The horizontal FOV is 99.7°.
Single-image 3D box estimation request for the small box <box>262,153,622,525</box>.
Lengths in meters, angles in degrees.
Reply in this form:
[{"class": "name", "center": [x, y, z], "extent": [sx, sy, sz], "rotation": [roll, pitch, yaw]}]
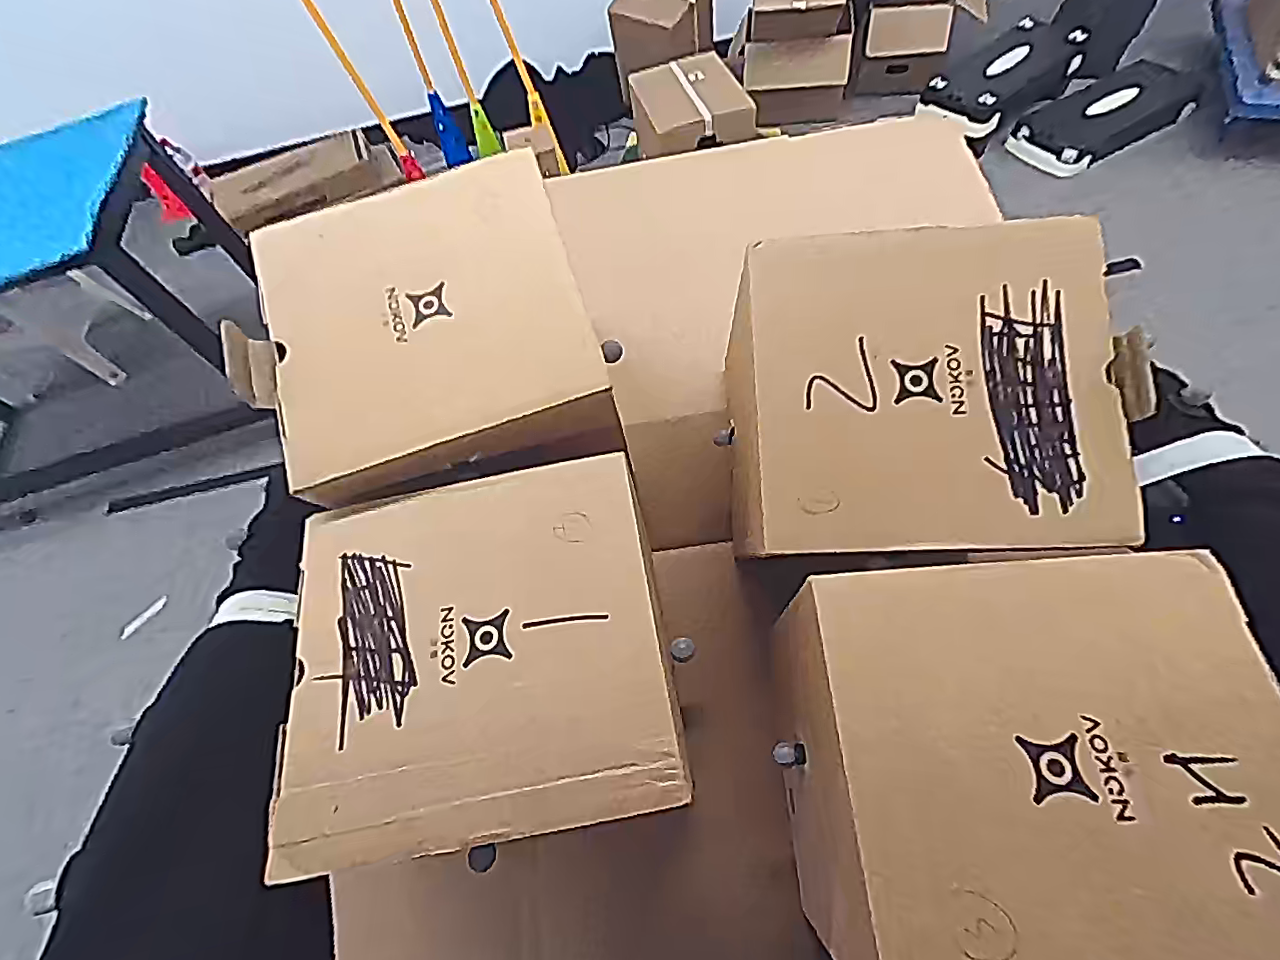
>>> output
[{"class": "small box", "center": [-0.117, -0.080, 0.386], "extent": [0.179, 0.176, 0.168], "rotation": [-19, 75, 0]}]
